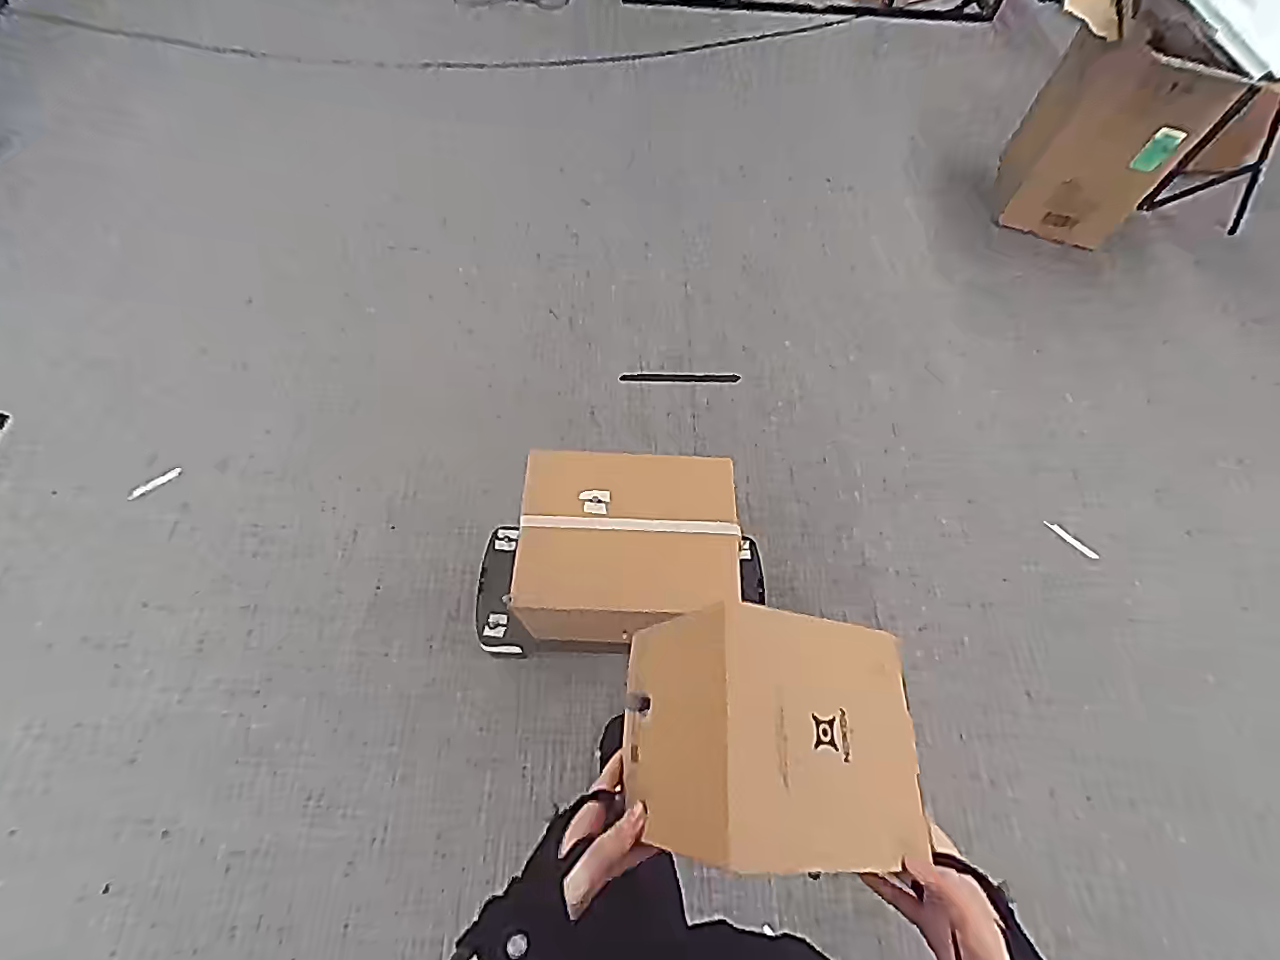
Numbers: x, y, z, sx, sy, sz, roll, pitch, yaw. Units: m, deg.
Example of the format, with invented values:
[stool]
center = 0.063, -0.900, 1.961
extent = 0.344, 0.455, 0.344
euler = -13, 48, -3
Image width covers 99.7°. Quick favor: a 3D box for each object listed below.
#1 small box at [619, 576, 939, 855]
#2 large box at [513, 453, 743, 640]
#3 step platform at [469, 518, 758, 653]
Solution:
[small box]
center = 0.102, 0.194, 0.445
extent = 0.179, 0.176, 0.168
euler = 17, 59, -21
[large box]
center = -0.018, 0.152, 1.119
extent = 0.408, 0.320, 0.320
euler = 2, 63, 0
[step platform]
center = -0.056, 0.283, 1.320
extent = 0.684, 0.204, 0.286
euler = 6, 63, 2
